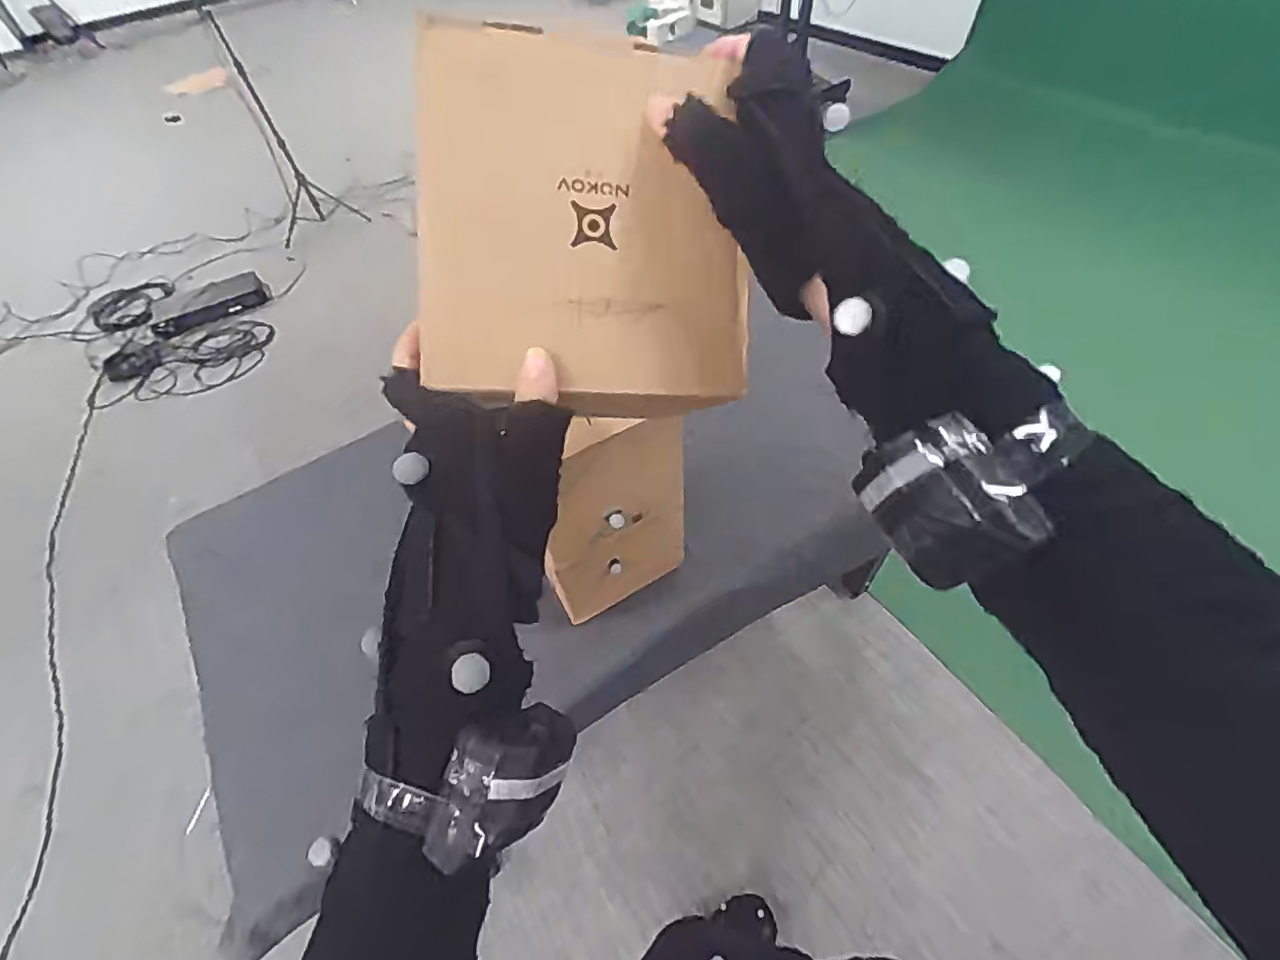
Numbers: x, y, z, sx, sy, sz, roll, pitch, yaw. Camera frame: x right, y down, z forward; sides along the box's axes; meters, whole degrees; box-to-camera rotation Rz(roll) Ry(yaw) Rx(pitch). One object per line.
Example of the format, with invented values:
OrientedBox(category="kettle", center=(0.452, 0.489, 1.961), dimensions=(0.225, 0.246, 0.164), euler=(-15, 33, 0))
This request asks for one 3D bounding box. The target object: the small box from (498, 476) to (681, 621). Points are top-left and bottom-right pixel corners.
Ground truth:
OrientedBox(category="small box", center=(-0.058, 0.057, 0.720), dimensions=(0.179, 0.176, 0.168), euler=(-28, 55, -14))

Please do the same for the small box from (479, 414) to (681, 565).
OrientedBox(category="small box", center=(-0.070, -0.041, 0.588), dimensions=(0.168, 0.176, 0.179), euler=(-30, 54, -16))

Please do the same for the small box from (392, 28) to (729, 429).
OrientedBox(category="small box", center=(-0.051, -0.128, 0.347), dimensions=(0.168, 0.176, 0.179), euler=(-2, 91, -11))
